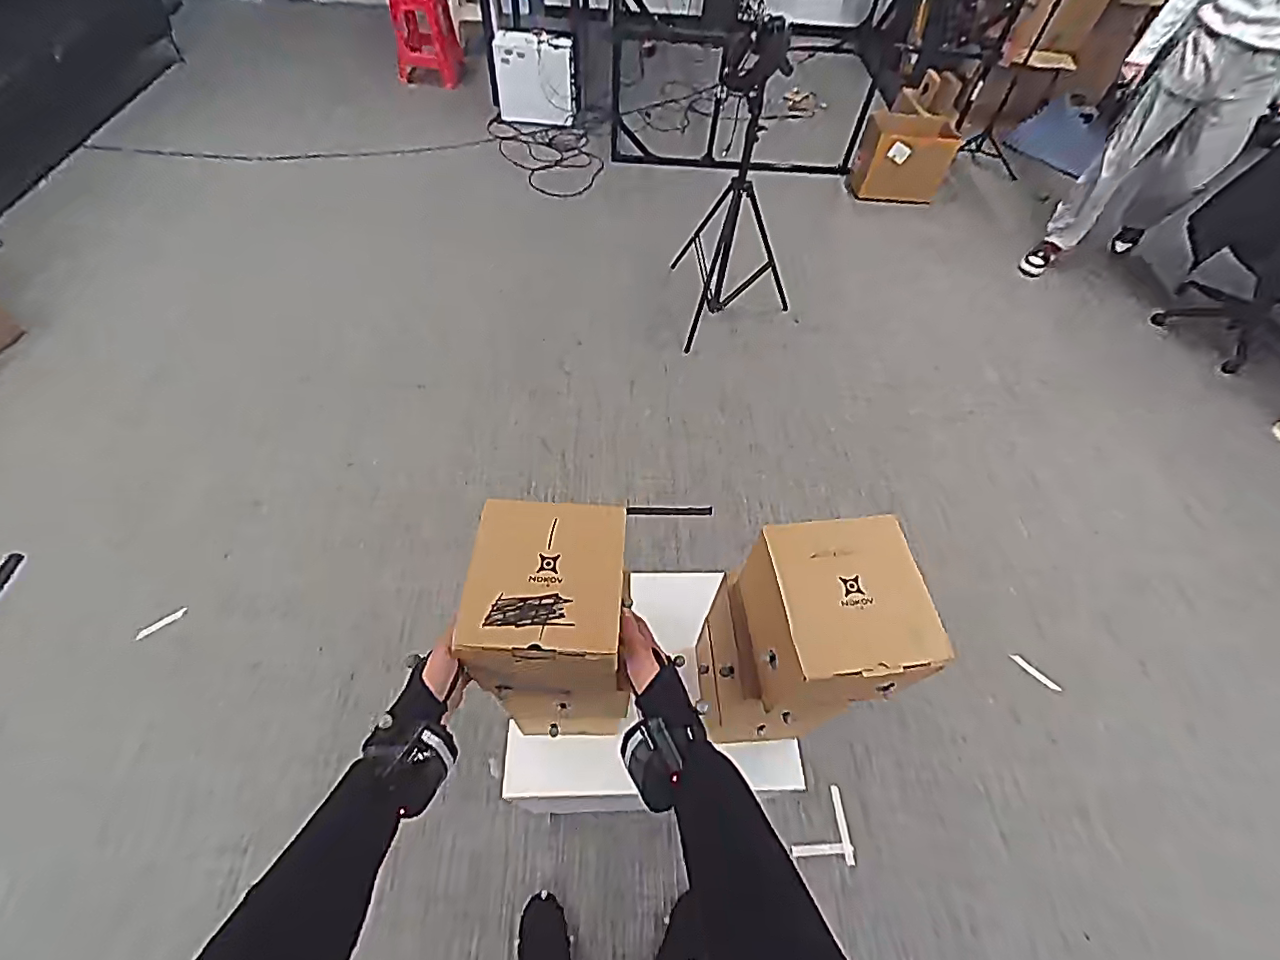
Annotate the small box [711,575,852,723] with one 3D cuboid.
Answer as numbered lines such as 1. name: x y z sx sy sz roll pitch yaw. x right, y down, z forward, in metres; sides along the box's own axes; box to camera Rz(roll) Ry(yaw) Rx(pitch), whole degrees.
1. small box: 0.203 0.250 0.787 0.168 0.176 0.179 -1 56 -3

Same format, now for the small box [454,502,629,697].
1. small box: -0.101 0.147 0.640 0.168 0.176 0.179 4 54 -1

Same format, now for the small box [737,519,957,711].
1. small box: 0.226 0.168 0.647 0.168 0.176 0.179 -5 56 -7

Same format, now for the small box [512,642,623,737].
1. small box: -0.113 0.329 0.914 0.168 0.176 0.179 2 55 -3

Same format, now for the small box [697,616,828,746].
1. small box: 0.195 0.342 0.923 0.168 0.176 0.179 -2 56 -3
